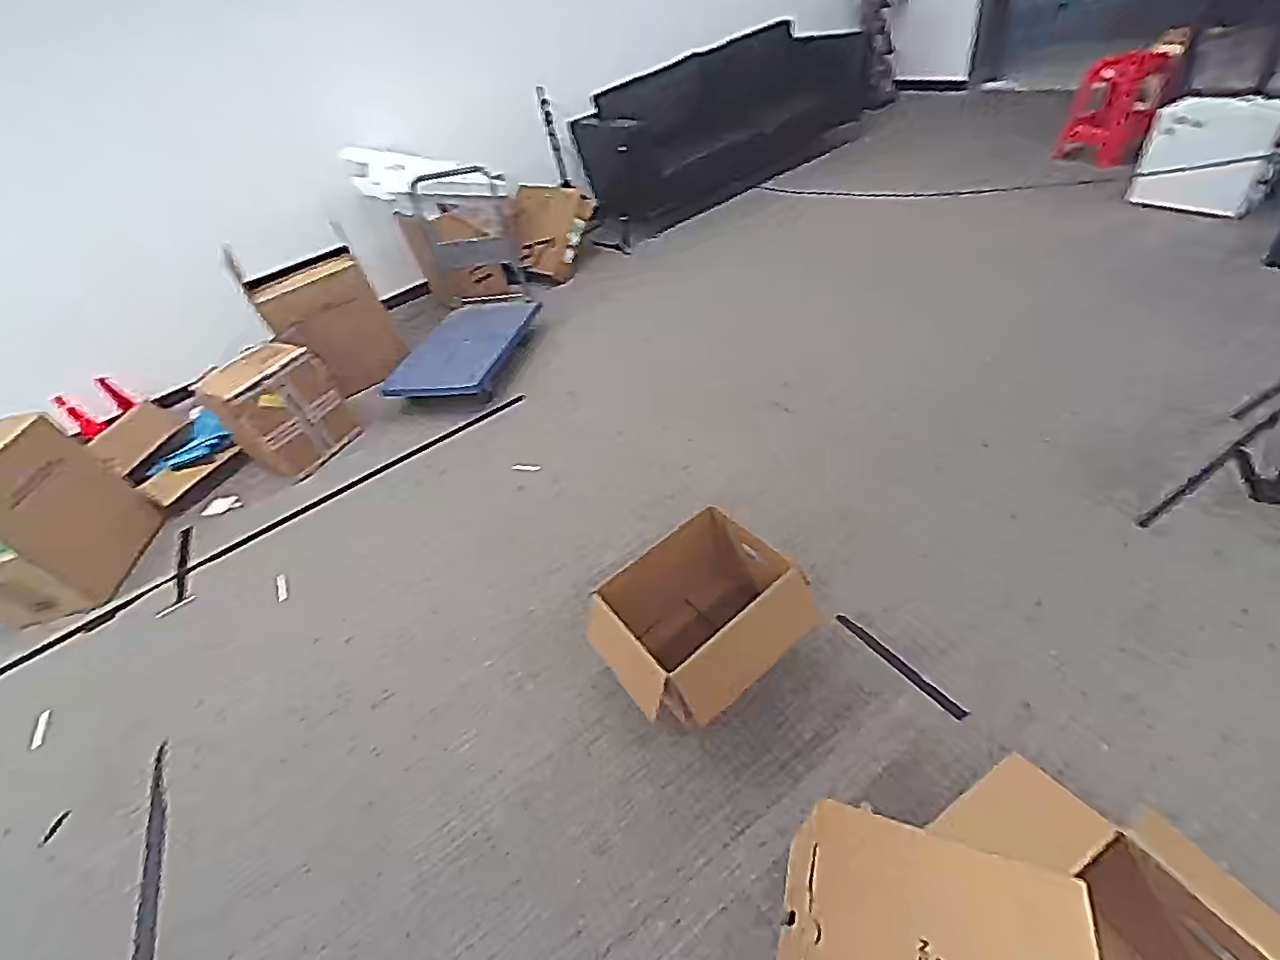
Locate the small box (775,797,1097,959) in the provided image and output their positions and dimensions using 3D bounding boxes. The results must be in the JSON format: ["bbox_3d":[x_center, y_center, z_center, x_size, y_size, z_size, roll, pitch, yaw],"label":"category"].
[{"bbox_3d":[0.195,0.362,0.390,0.179,0.176,0.168,9,49,16],"label":"small box"}]
